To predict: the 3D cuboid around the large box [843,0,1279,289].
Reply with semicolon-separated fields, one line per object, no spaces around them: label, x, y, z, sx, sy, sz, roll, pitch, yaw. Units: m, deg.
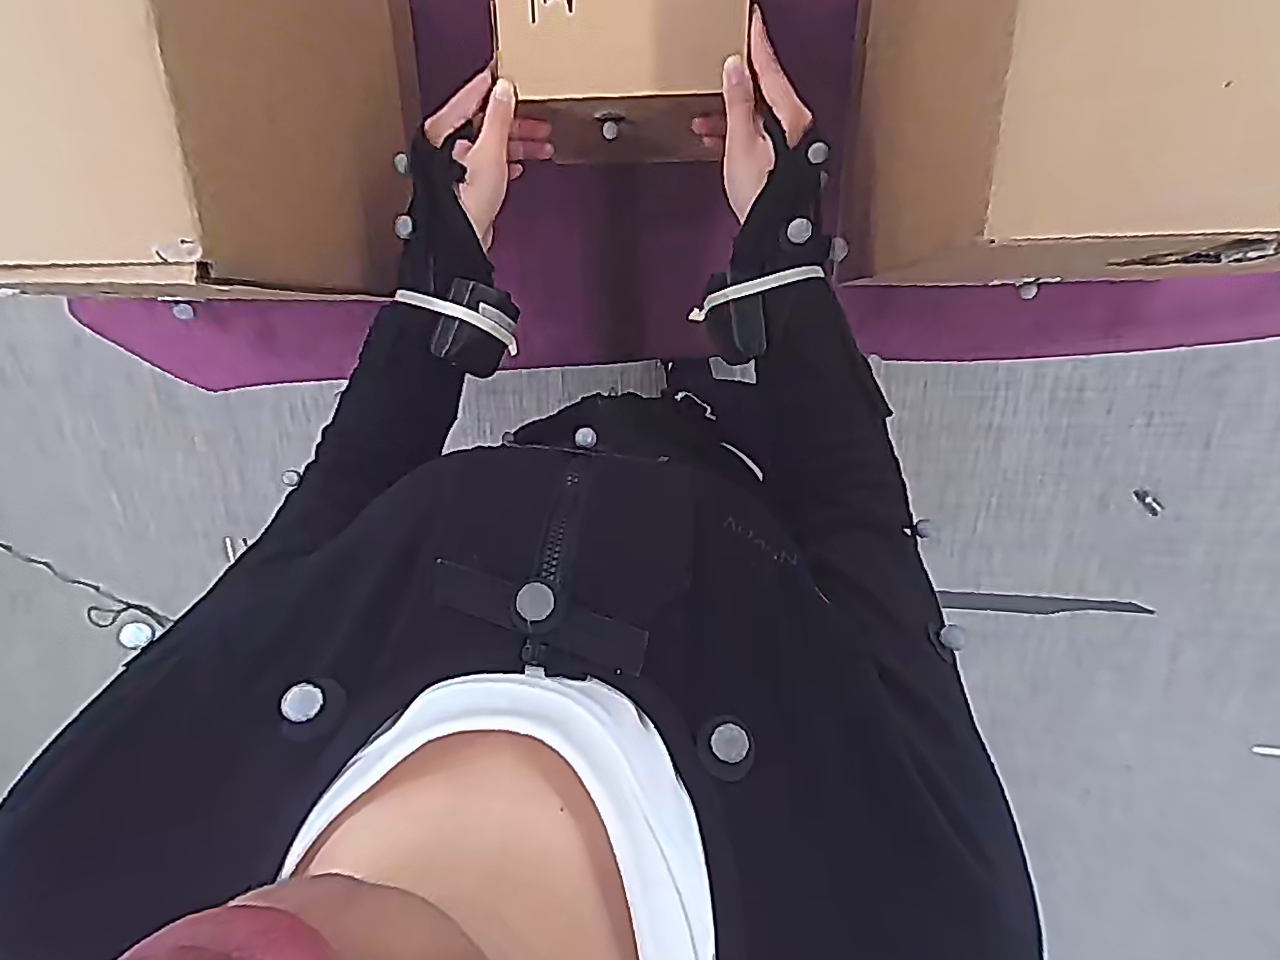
large box;0.322;-0.341;0.320;0.320;0.320;0.408;0;105;5
